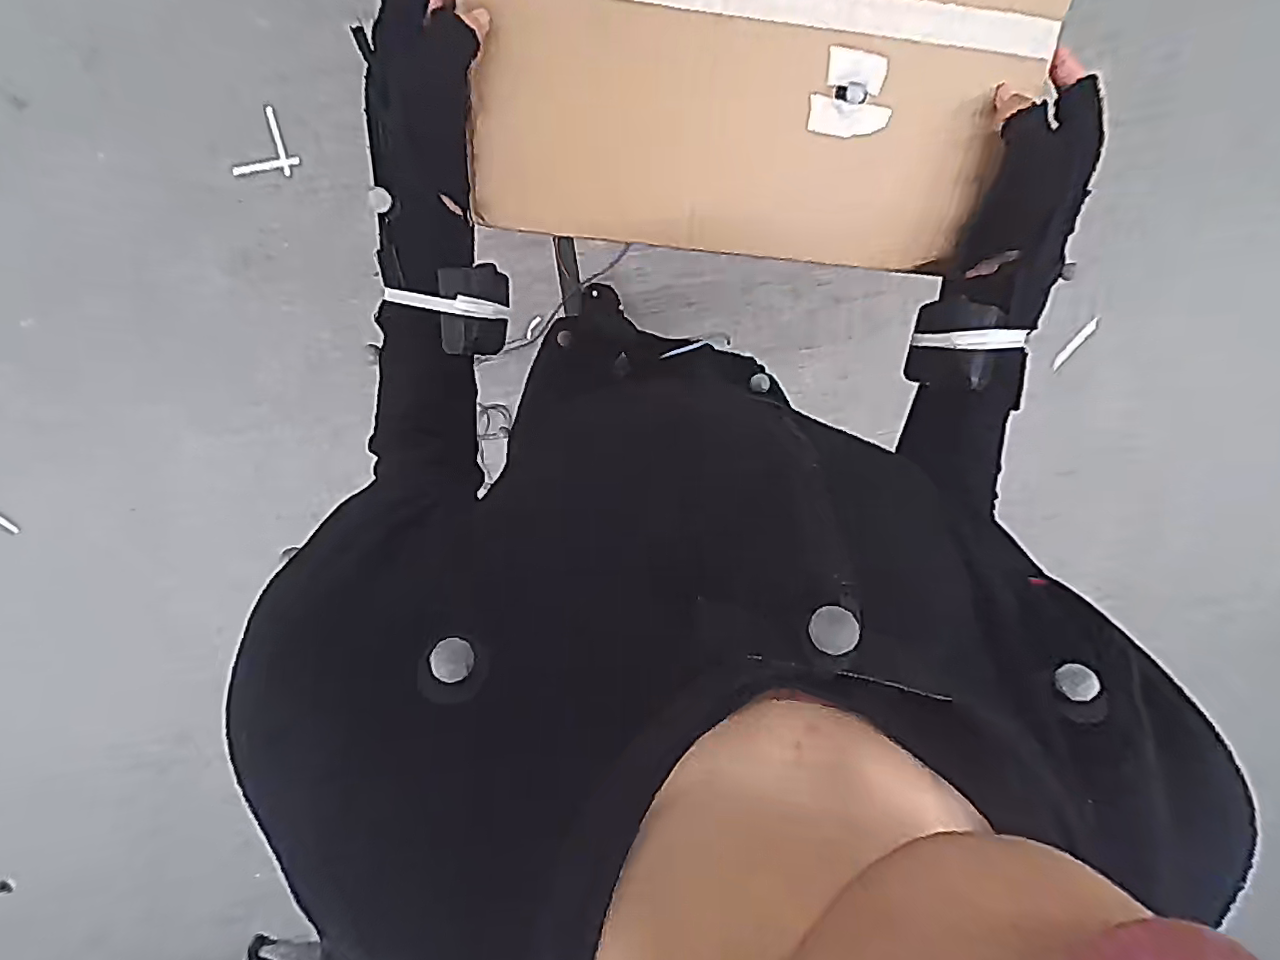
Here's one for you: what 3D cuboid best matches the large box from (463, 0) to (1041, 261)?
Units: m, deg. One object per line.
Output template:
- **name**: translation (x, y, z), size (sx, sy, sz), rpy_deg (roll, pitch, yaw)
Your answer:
- **large box**: translation (0.068, -0.401, 0.495), size (0.408, 0.320, 0.320), rpy_deg (3, 121, -7)
